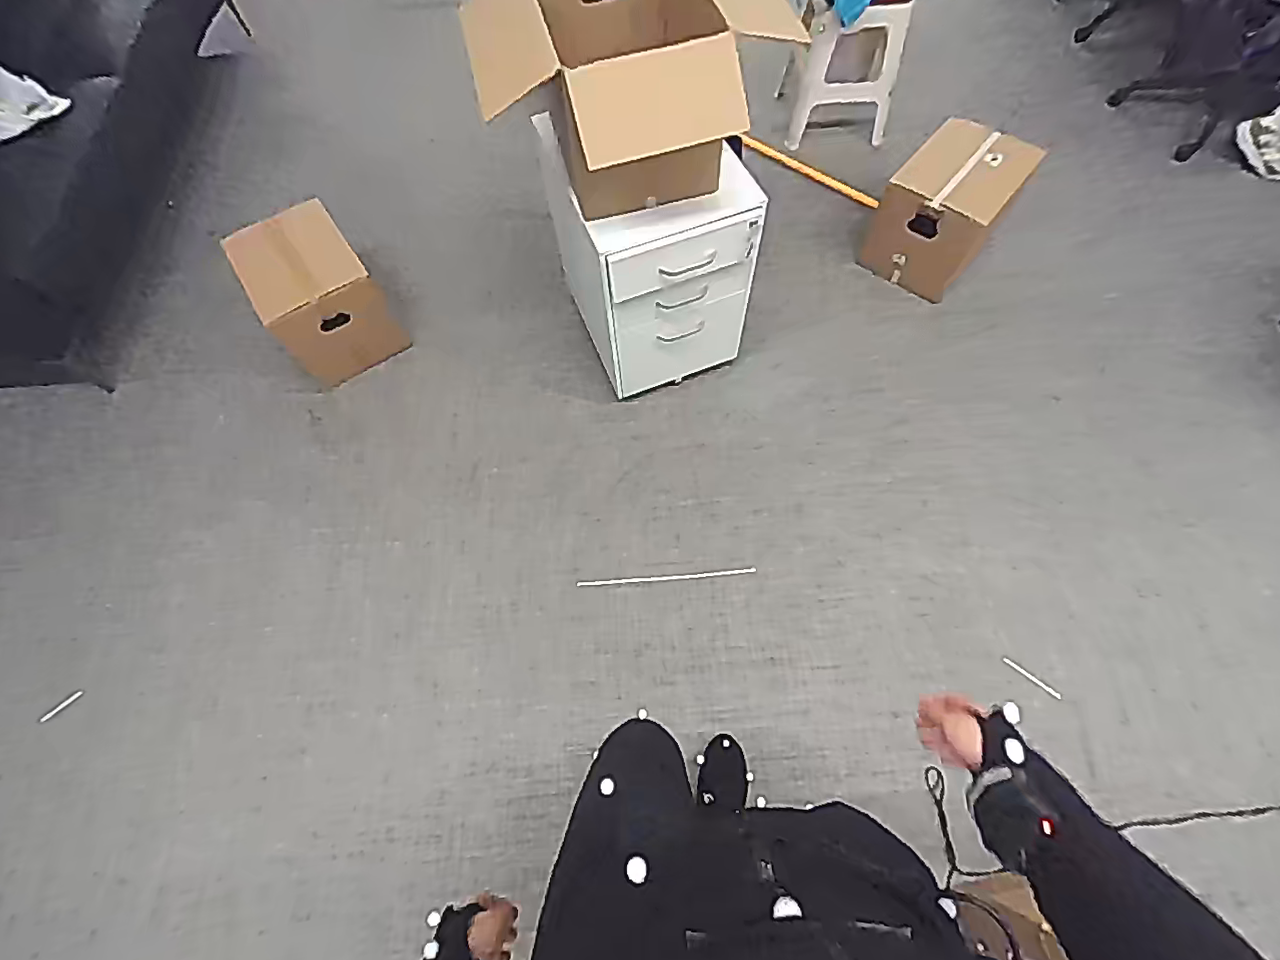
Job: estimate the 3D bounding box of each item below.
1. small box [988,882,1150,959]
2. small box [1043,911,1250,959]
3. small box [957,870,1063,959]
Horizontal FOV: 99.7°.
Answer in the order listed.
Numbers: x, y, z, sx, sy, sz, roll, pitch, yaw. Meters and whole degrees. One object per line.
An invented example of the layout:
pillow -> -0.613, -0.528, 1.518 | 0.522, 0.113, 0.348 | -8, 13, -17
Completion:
small box -> 0.727, 0.787, 0.889 | 0.179, 0.176, 0.168 | -8, 64, 0
small box -> 0.715, 0.723, 0.740 | 0.179, 0.176, 0.168 | -9, 64, 0
small box -> 0.741, 0.873, 1.029 | 0.179, 0.176, 0.168 | -11, 65, -3
